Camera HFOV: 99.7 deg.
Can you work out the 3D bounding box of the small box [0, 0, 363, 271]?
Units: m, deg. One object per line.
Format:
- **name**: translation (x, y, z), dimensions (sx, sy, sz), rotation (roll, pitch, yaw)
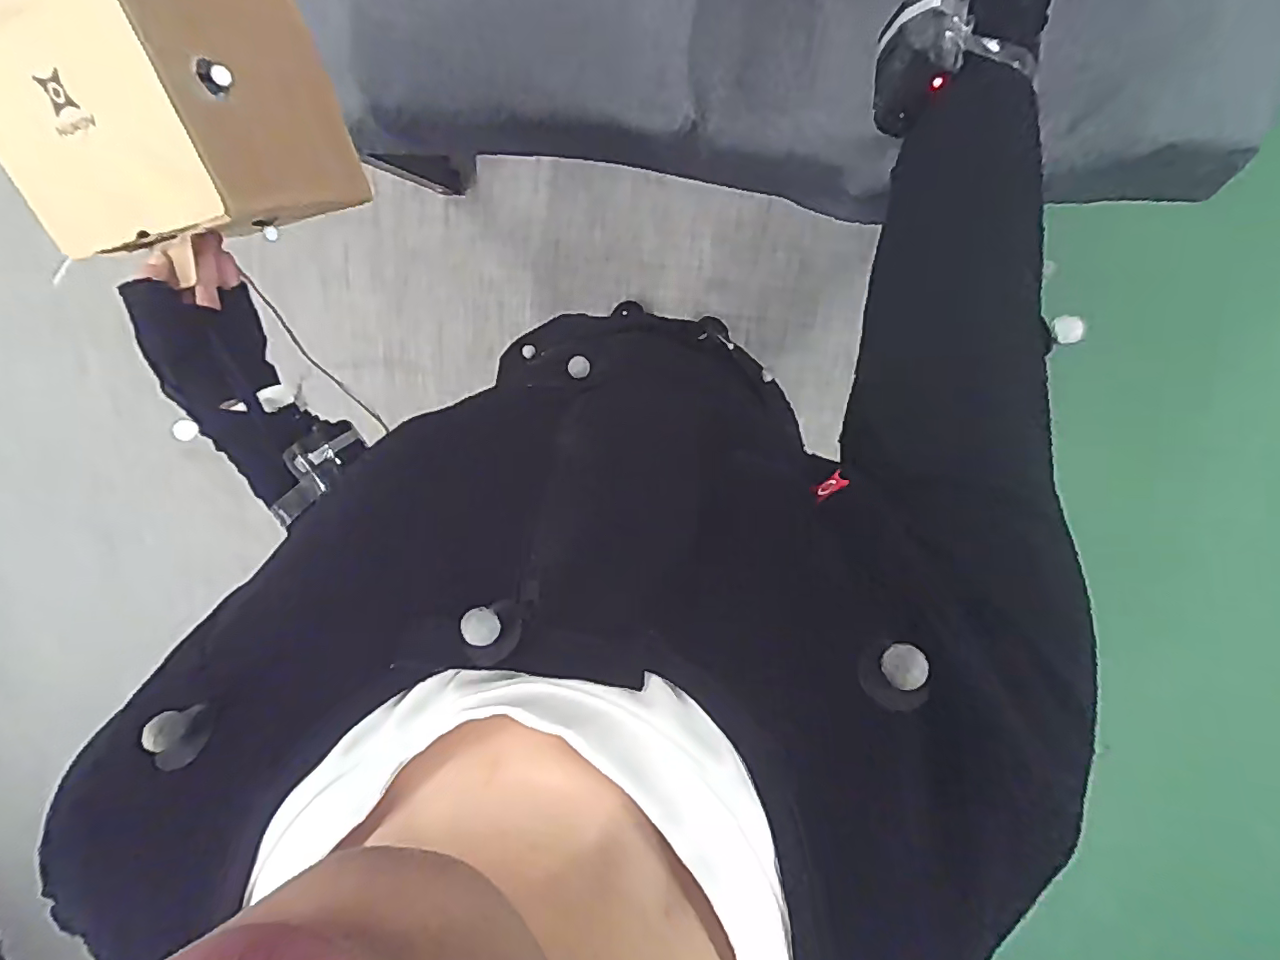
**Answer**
- **small box**: translation (-0.357, -0.279, 0.415), dimensions (0.168, 0.176, 0.179), rotation (-6, 118, 15)
